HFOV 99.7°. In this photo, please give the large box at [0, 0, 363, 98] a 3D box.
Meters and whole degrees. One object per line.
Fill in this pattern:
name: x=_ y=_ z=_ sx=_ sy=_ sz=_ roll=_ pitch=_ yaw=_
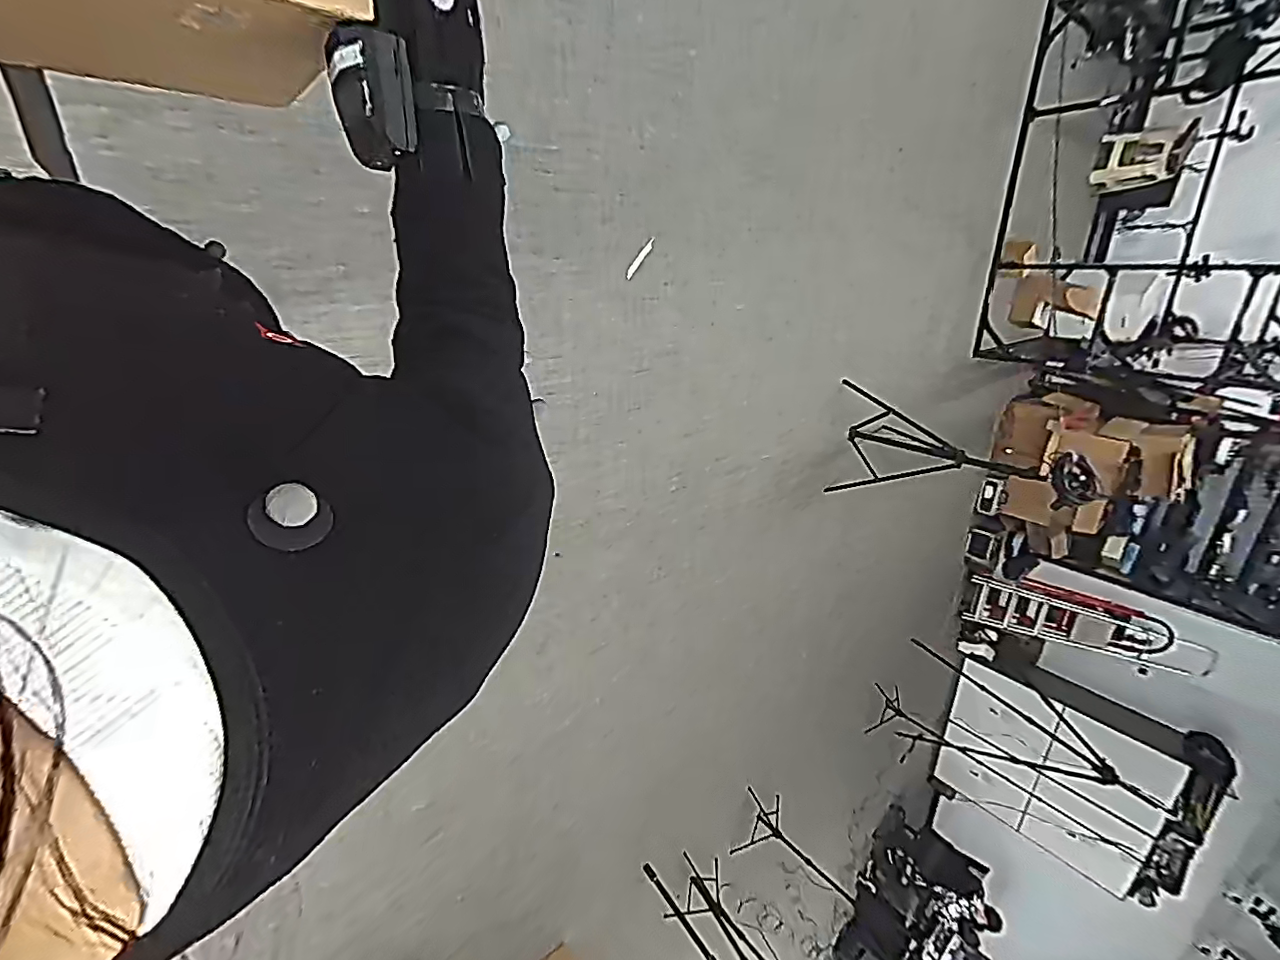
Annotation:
large box: x=-0.405 y=-0.413 z=0.245 sx=0.408 sy=0.320 sz=0.320 roll=-16 pitch=120 yaw=-37
